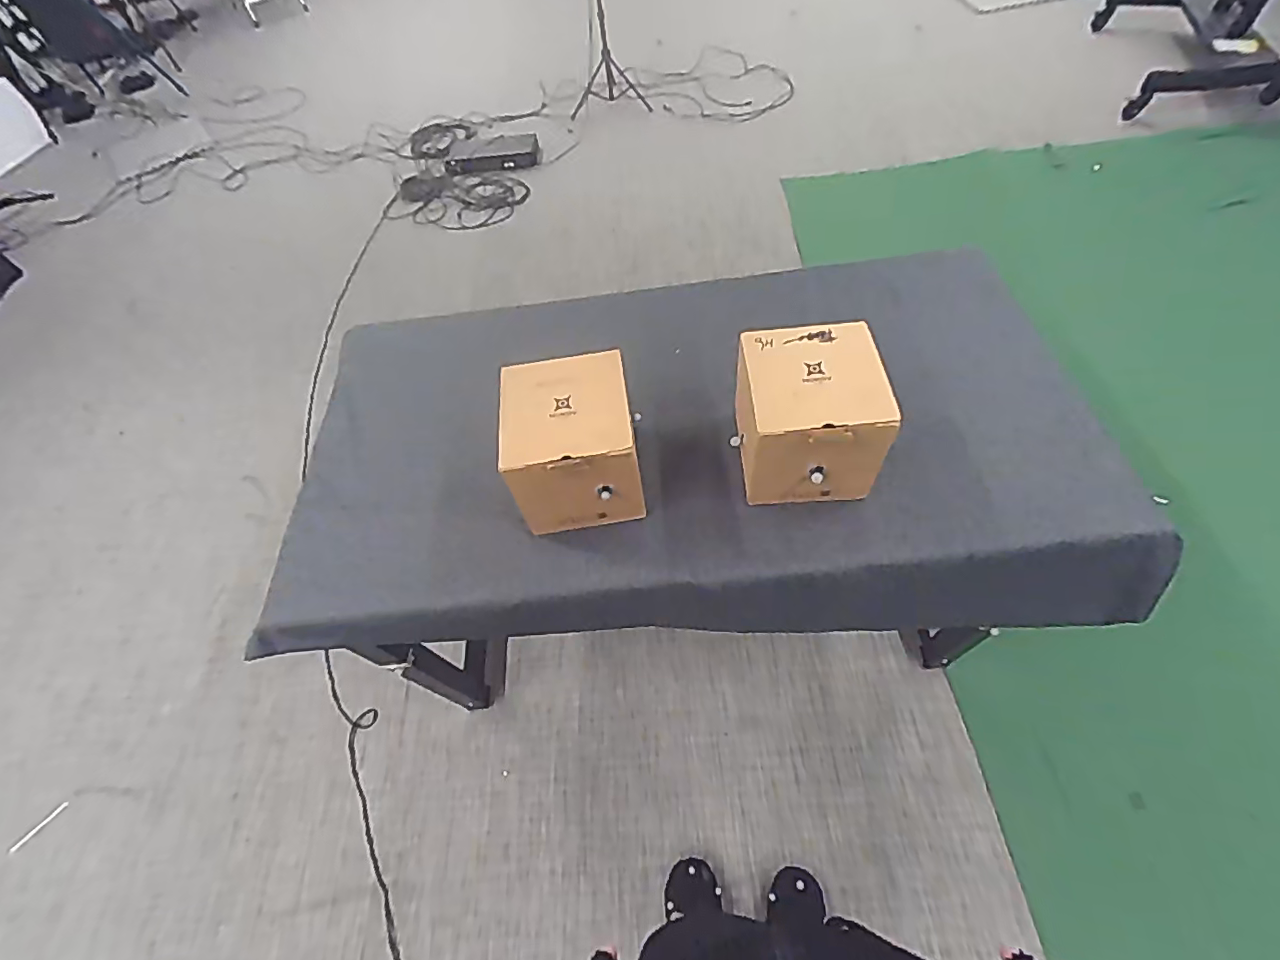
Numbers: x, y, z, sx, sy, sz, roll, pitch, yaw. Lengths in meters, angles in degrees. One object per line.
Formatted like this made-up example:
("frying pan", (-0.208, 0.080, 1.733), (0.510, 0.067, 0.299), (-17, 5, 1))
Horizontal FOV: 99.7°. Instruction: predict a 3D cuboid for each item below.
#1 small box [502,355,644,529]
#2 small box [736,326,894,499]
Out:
("small box", (-0.089, -0.045, 0.762), (0.168, 0.176, 0.179), (-9, 54, -1))
("small box", (0.225, -0.083, 0.748), (0.168, 0.176, 0.179), (-4, 57, 4))
